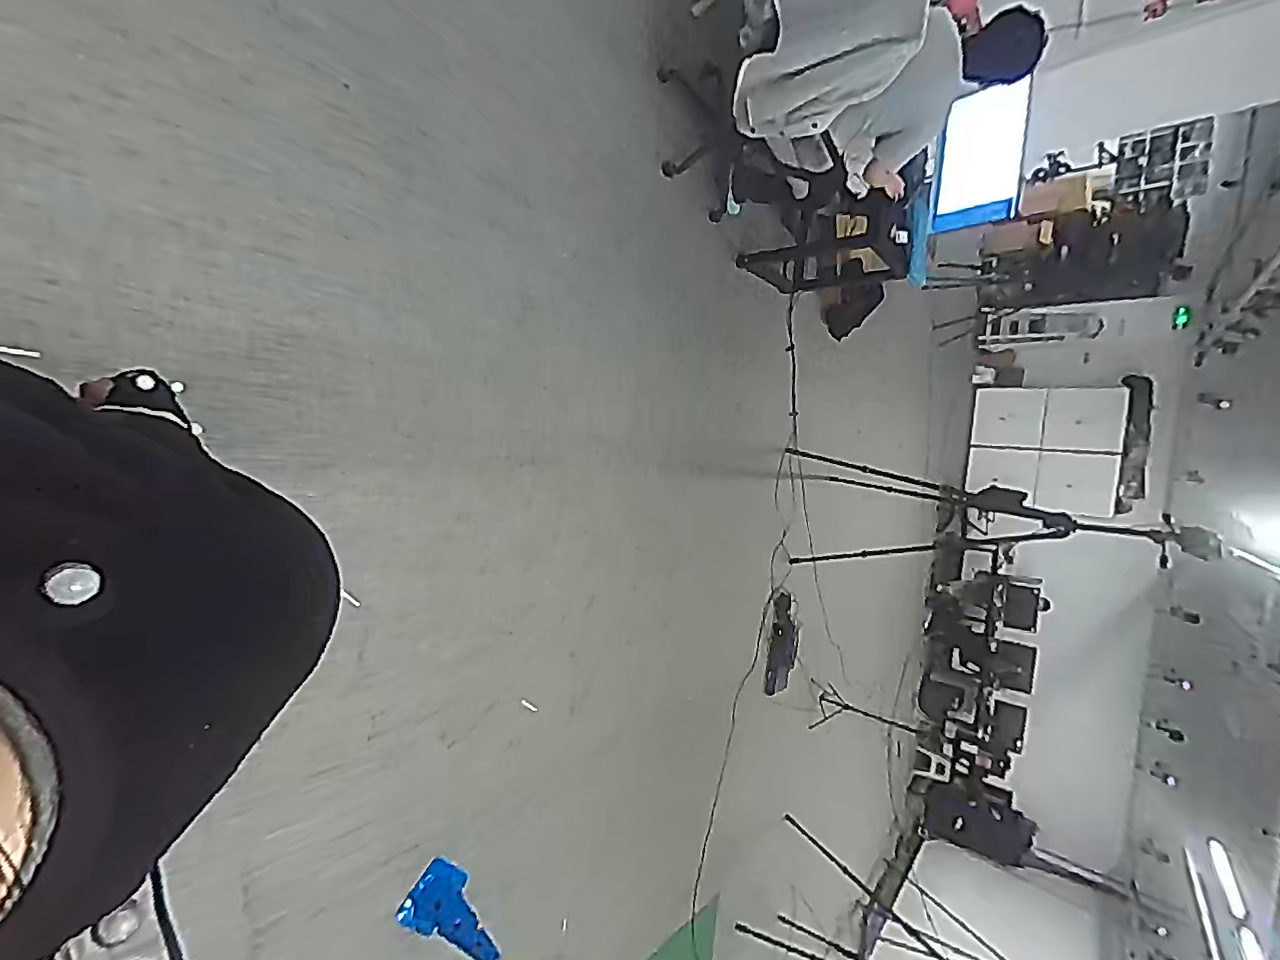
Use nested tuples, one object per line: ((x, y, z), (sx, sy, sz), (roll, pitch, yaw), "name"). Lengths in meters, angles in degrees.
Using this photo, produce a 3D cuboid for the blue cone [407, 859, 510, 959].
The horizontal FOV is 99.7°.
((-0.543, 1.398, 1.705), (0.193, 0.380, 0.192), (-54, 131, -32), "blue cone")
